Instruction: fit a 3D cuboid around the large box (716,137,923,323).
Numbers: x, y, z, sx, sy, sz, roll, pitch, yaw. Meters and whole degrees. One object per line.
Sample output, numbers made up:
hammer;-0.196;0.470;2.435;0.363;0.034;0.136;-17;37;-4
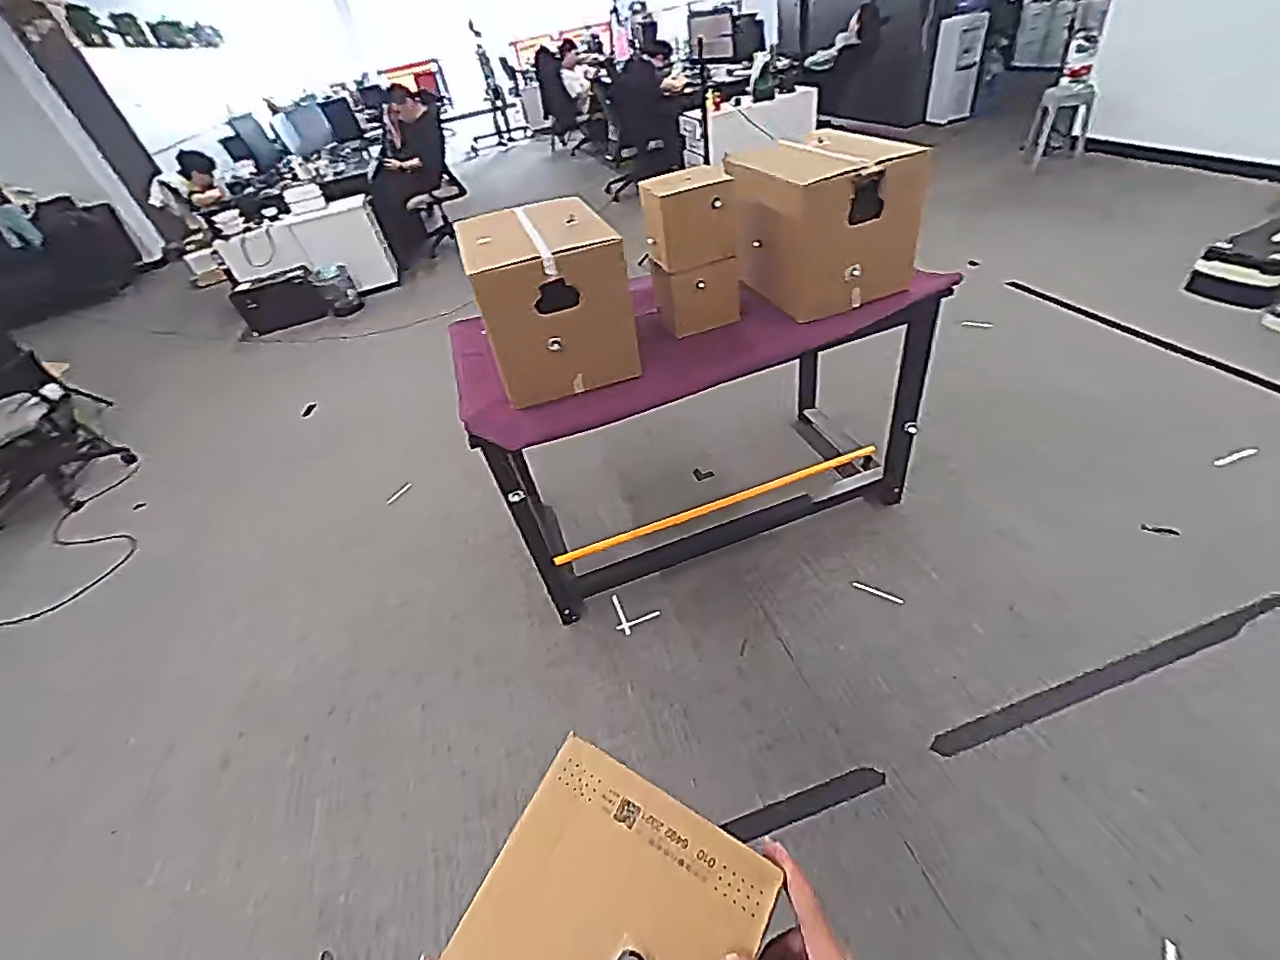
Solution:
large box;0.430;-0.644;1.375;0.320;0.320;0.408;-19;40;-9
